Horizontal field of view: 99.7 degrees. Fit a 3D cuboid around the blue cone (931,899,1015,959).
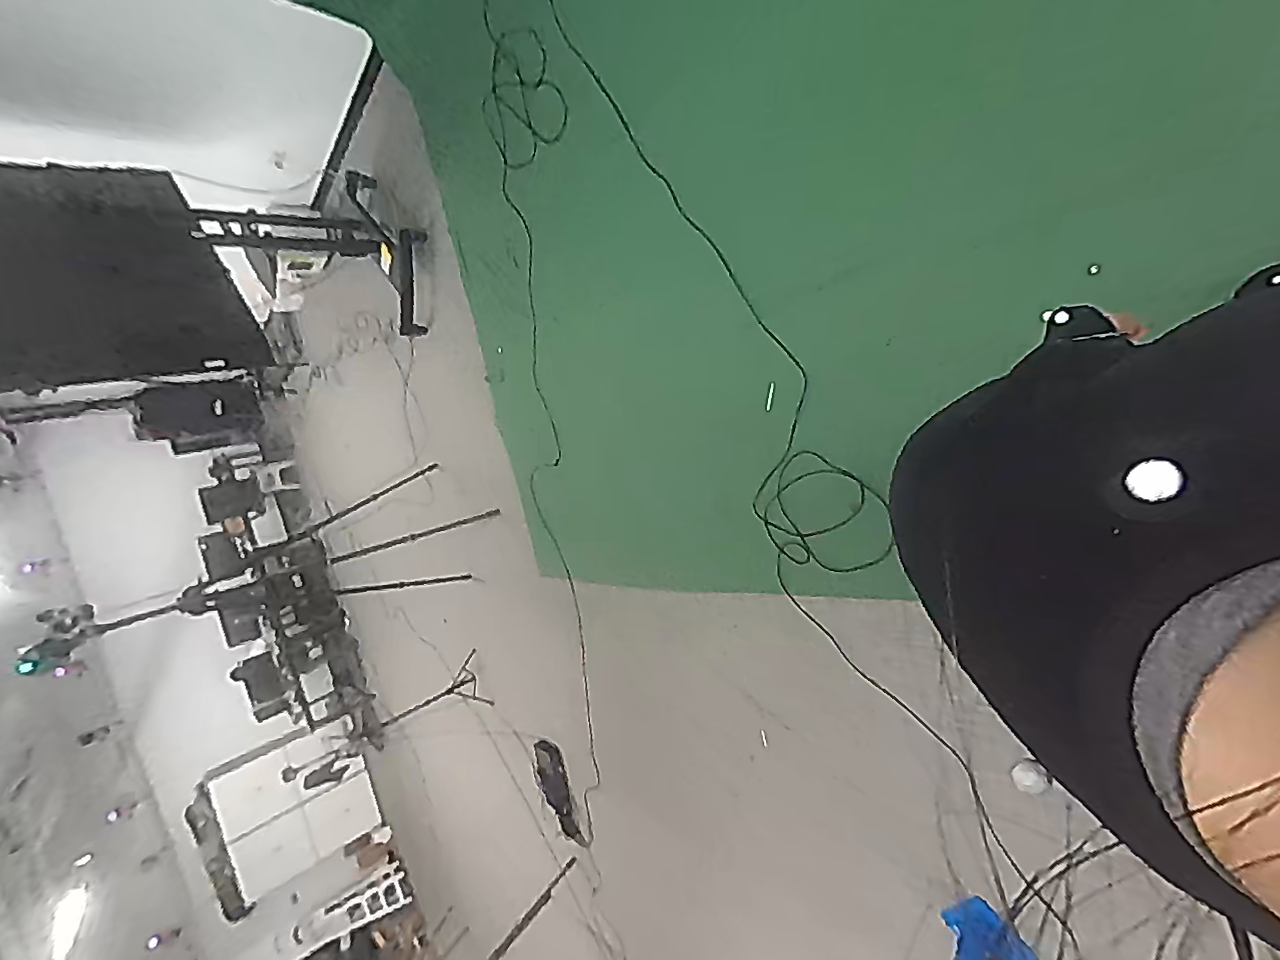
[{"bbox_3d":[0.902,1.441,1.546,0.192,0.380,0.193,42,132,27],"label":"blue cone"}]
